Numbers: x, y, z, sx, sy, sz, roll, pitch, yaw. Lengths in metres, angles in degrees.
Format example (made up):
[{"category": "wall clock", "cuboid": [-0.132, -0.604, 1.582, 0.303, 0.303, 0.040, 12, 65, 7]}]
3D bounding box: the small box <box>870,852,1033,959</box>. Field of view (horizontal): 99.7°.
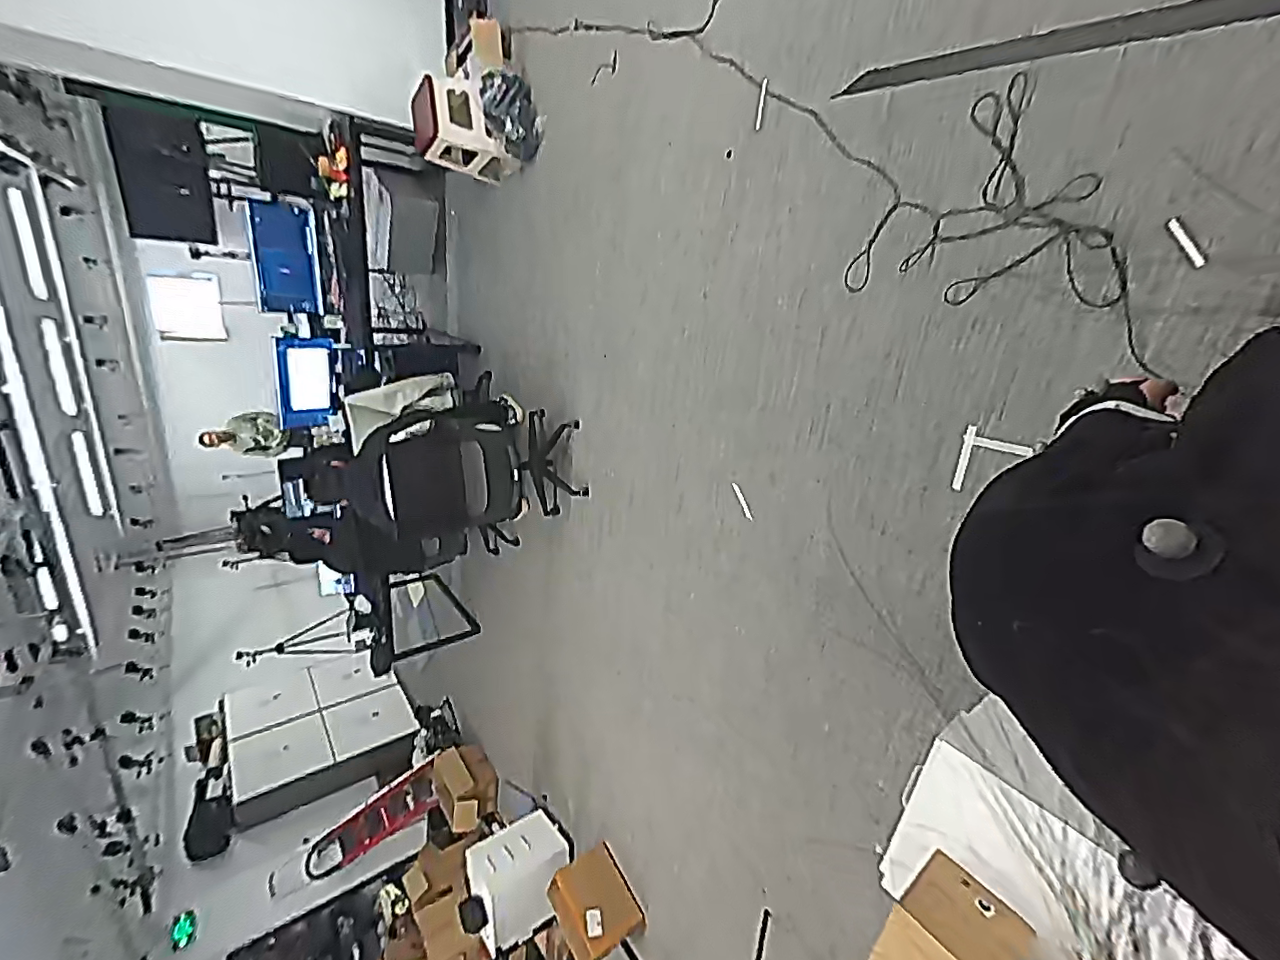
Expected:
[{"category": "small box", "cuboid": [0.526, 0.793, 0.915, 0.168, 0.176, 0.179, 29, 118, 44]}]
